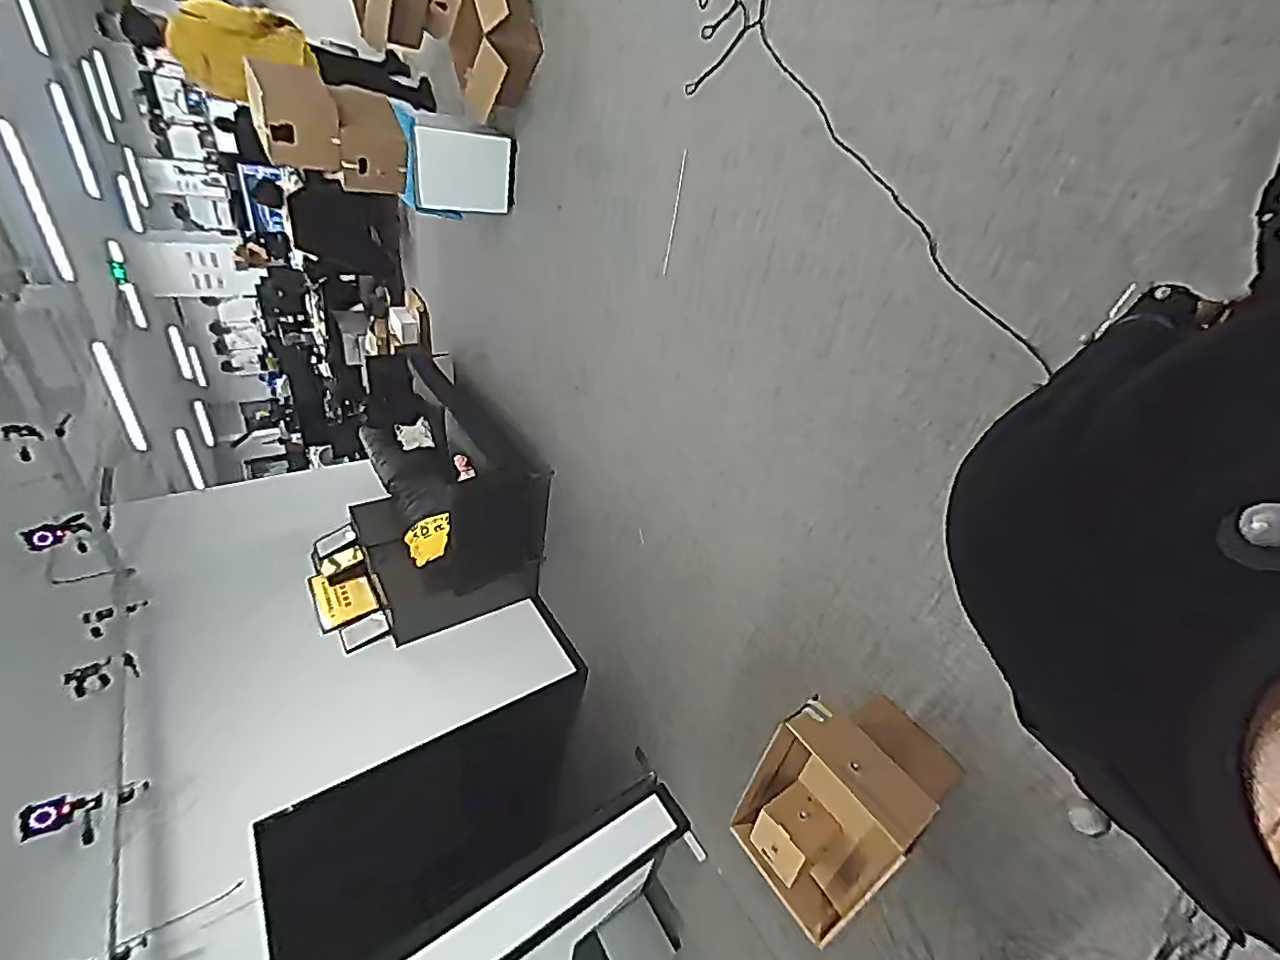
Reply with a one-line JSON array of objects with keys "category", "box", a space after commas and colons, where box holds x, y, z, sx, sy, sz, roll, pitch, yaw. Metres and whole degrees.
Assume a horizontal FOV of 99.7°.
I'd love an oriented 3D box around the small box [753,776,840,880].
[{"category": "small box", "box": [0.476, 1.045, 1.636, 0.168, 0.176, 0.179, 39, 131, 42]}]
